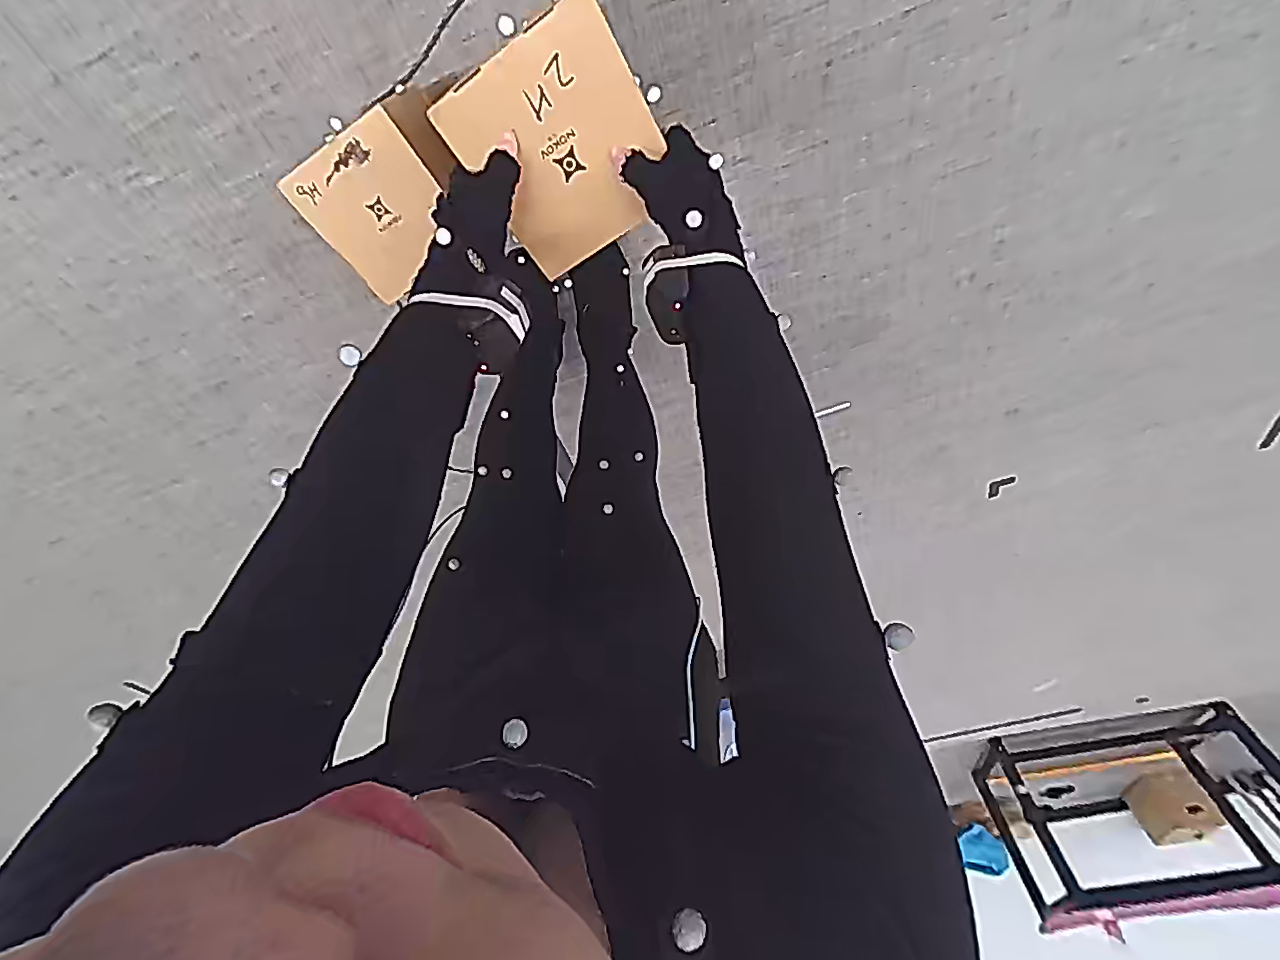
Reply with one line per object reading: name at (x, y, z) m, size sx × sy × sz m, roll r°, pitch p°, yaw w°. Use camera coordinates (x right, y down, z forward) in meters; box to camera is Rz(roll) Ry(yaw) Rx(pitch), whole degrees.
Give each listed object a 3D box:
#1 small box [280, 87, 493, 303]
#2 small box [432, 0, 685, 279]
small box at (-0.316, -0.378, 0.719) m, size 0.168 × 0.176 × 0.179 m, roll -24°, pitch 131°, yaw 15°
small box at (-0.072, -0.348, 0.545) m, size 0.168 × 0.176 × 0.179 m, roll -26°, pitch 130°, yaw 17°
